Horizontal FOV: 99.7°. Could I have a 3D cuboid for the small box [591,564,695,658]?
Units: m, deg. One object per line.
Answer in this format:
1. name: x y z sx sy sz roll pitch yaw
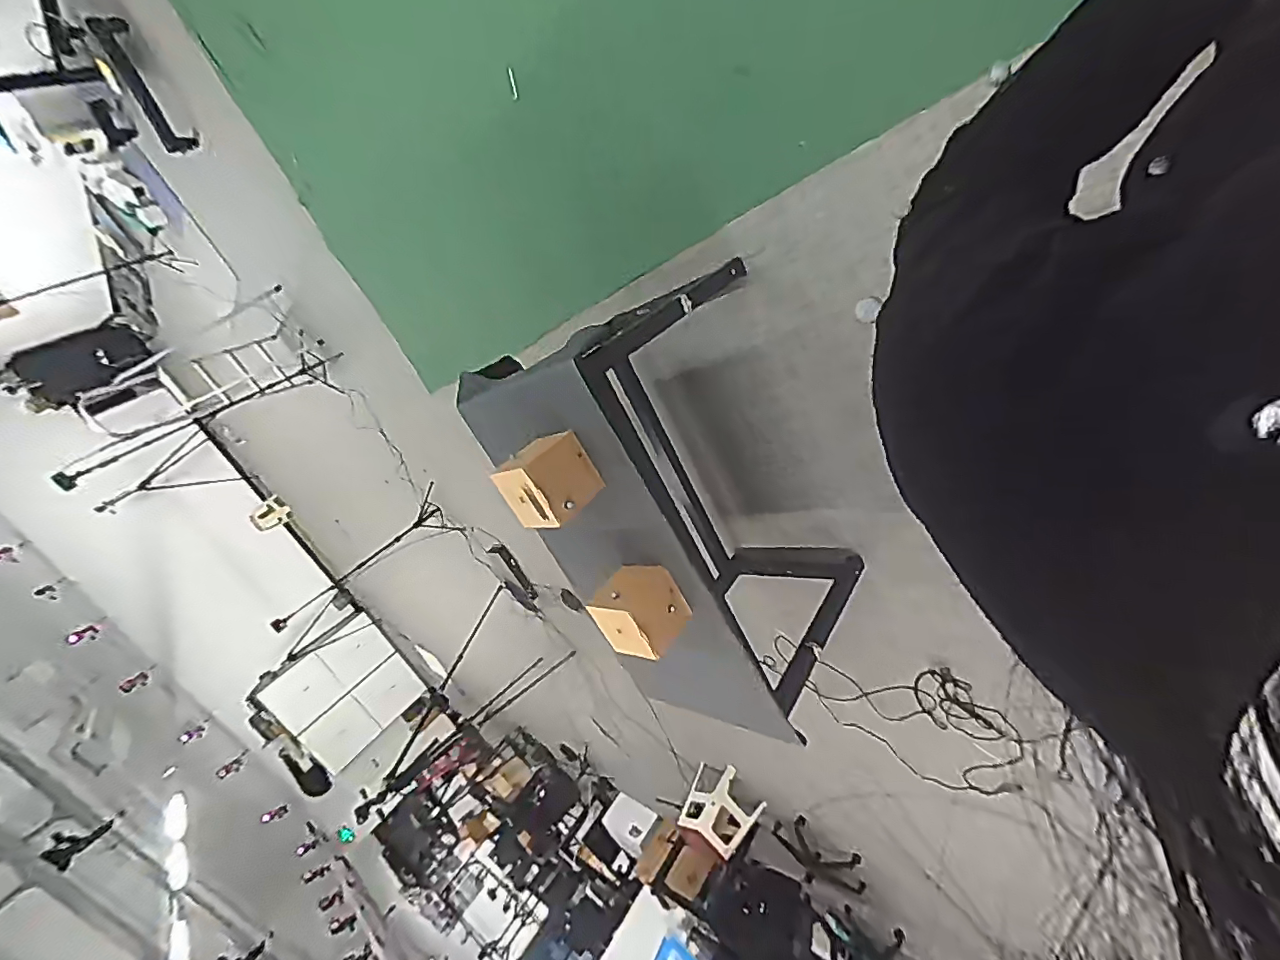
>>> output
1. small box: 0.012 0.336 1.423 0.179 0.176 0.168 -10 117 48
